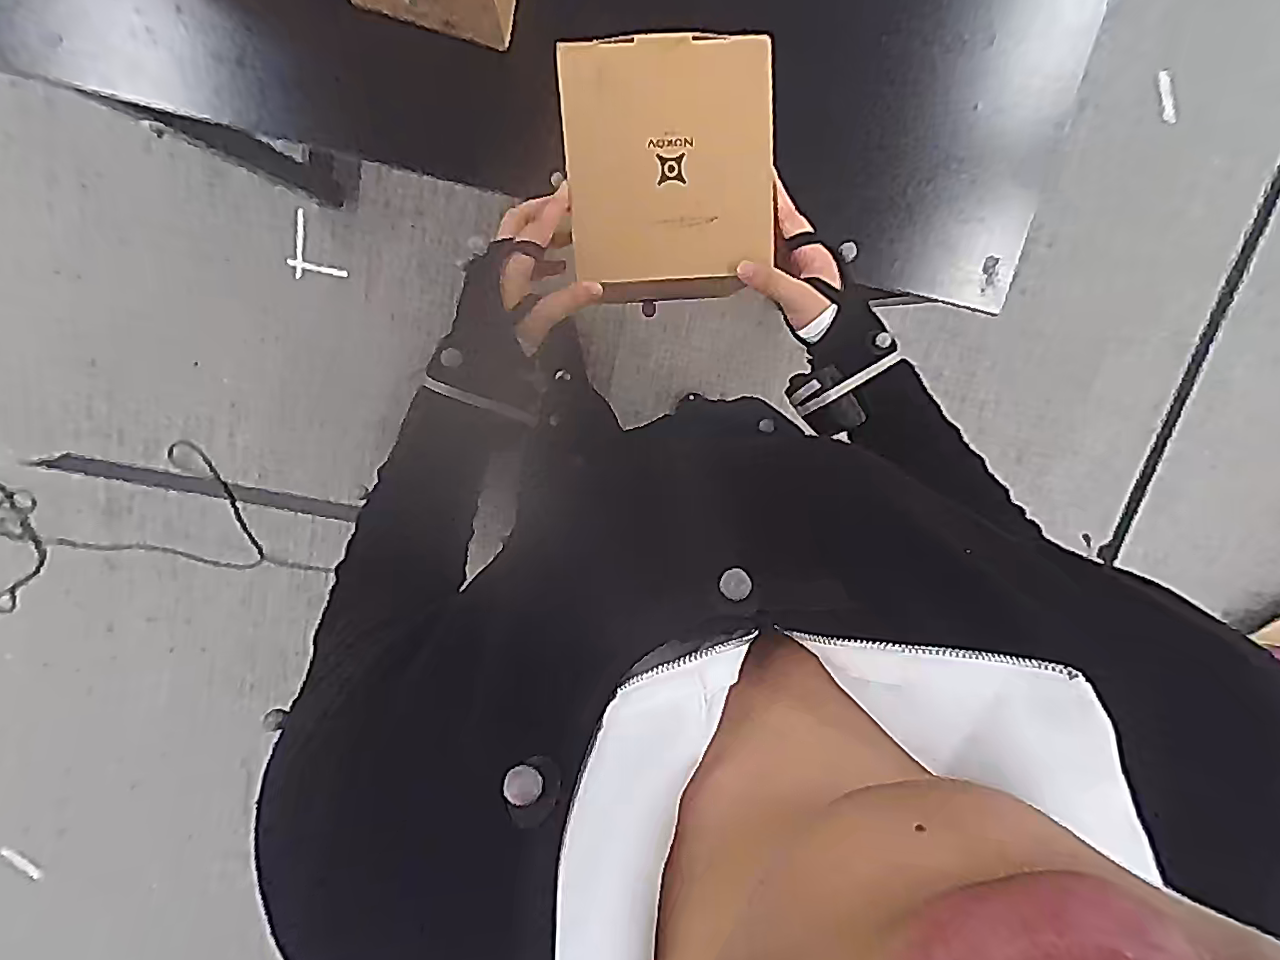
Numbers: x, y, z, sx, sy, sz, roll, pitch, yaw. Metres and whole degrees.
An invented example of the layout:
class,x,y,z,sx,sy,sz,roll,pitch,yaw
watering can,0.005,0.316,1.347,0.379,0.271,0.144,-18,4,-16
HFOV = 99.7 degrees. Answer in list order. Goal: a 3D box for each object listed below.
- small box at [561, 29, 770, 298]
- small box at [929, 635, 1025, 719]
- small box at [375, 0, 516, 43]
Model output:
class,x,y,z,sx,sy,sz,roll,pitch,yaw
small box,0.016,-0.274,0.506,0.168,0.176,0.179,-4,103,-3
small box,1.054,0.620,1.710,0.168,0.176,0.179,10,105,-9
small box,-0.196,-0.548,0.488,0.168,0.176,0.179,11,105,-9
